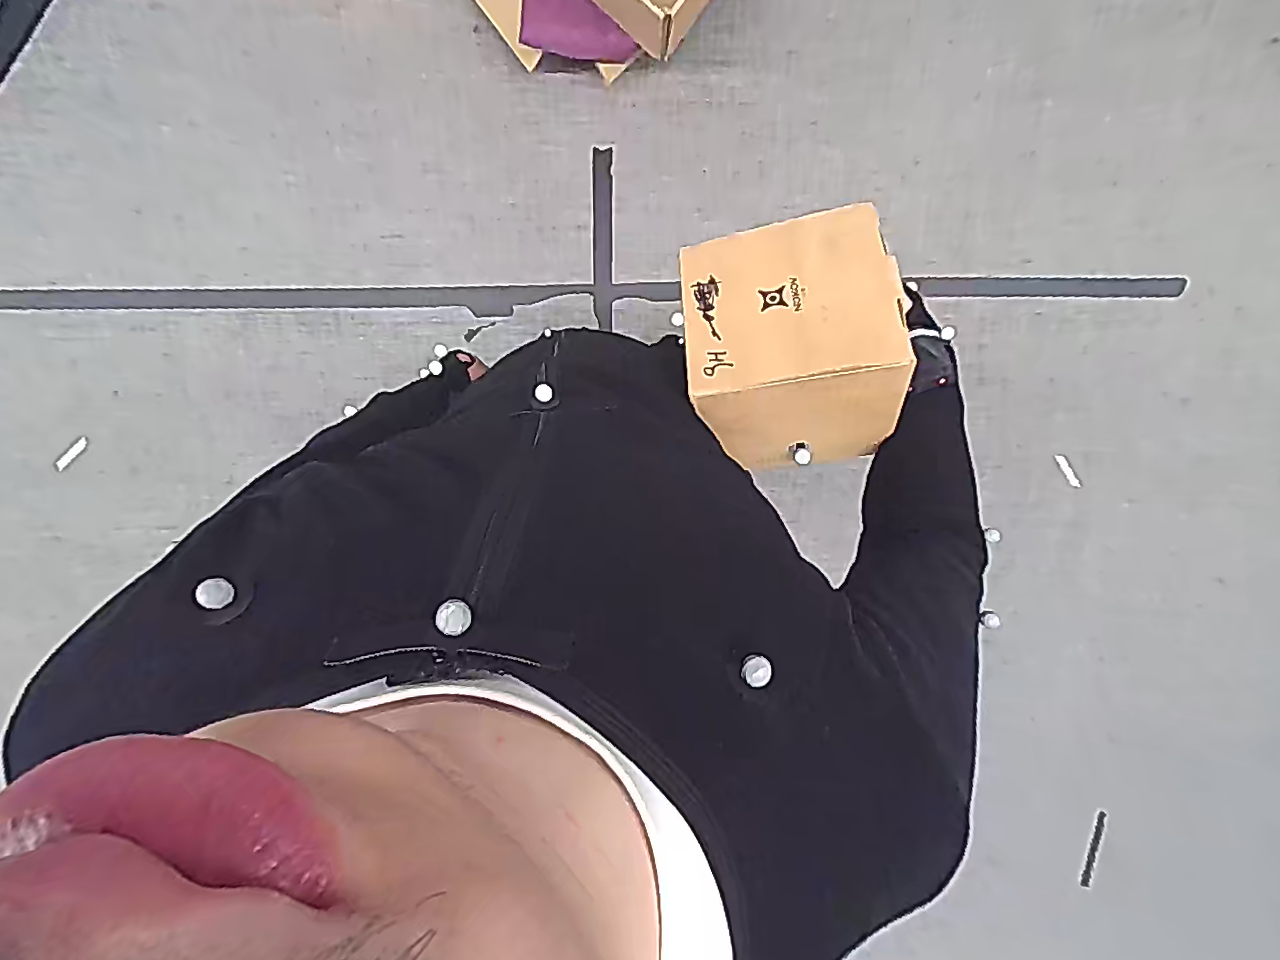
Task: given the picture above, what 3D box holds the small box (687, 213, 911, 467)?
[{"bbox_3d":[0.150,-0.125,0.544,0.179,0.176,0.168,-7,65,14],"label":"small box"}]
